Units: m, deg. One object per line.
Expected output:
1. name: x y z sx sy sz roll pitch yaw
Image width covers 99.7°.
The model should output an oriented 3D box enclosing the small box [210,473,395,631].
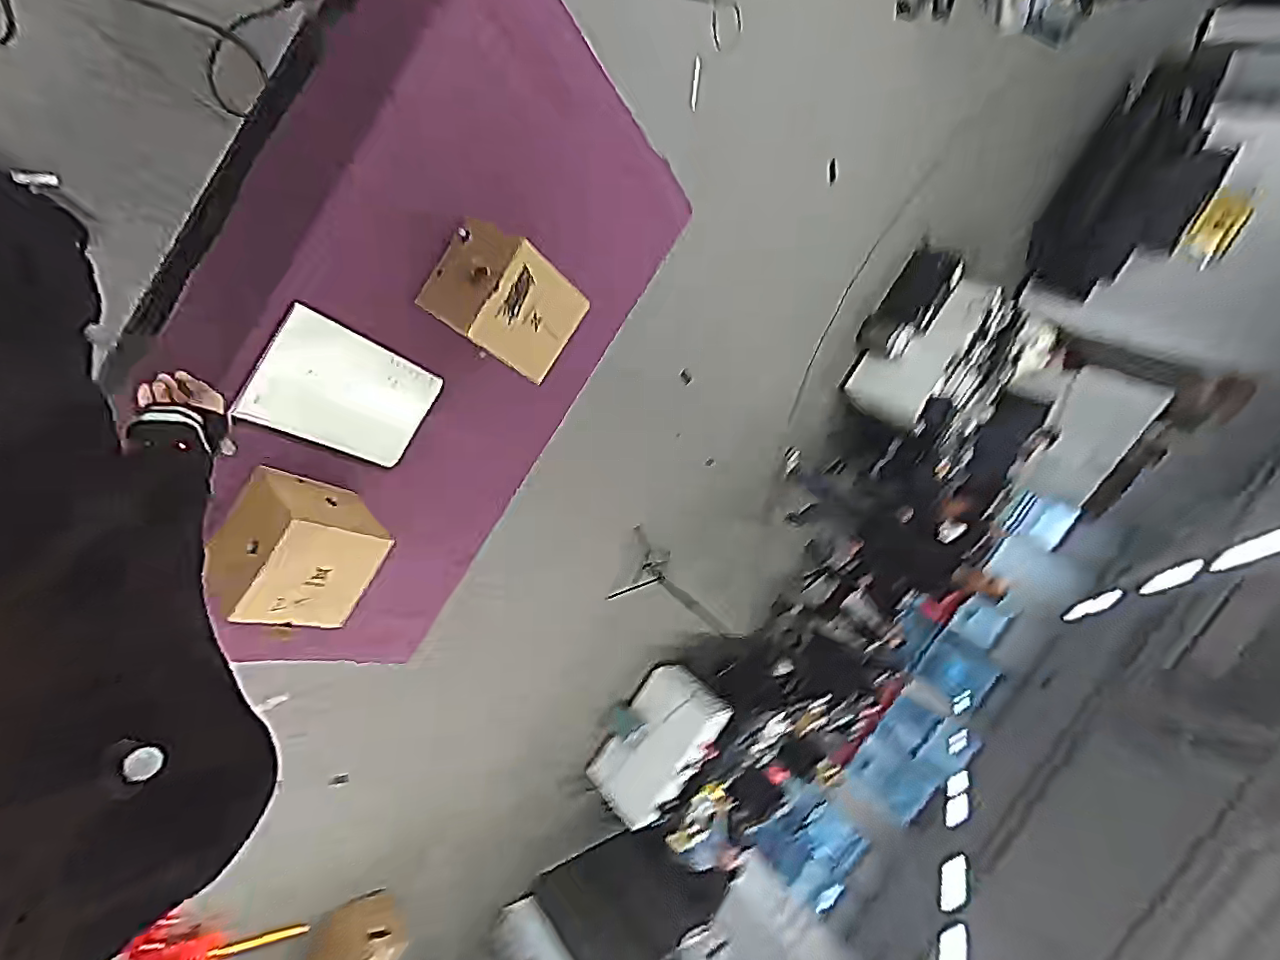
1. small box: -0.537 0.114 0.857 0.179 0.176 0.168 -56 146 1

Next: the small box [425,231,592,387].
1. small box: -0.221 -0.288 0.903 0.168 0.176 0.179 -56 147 2
